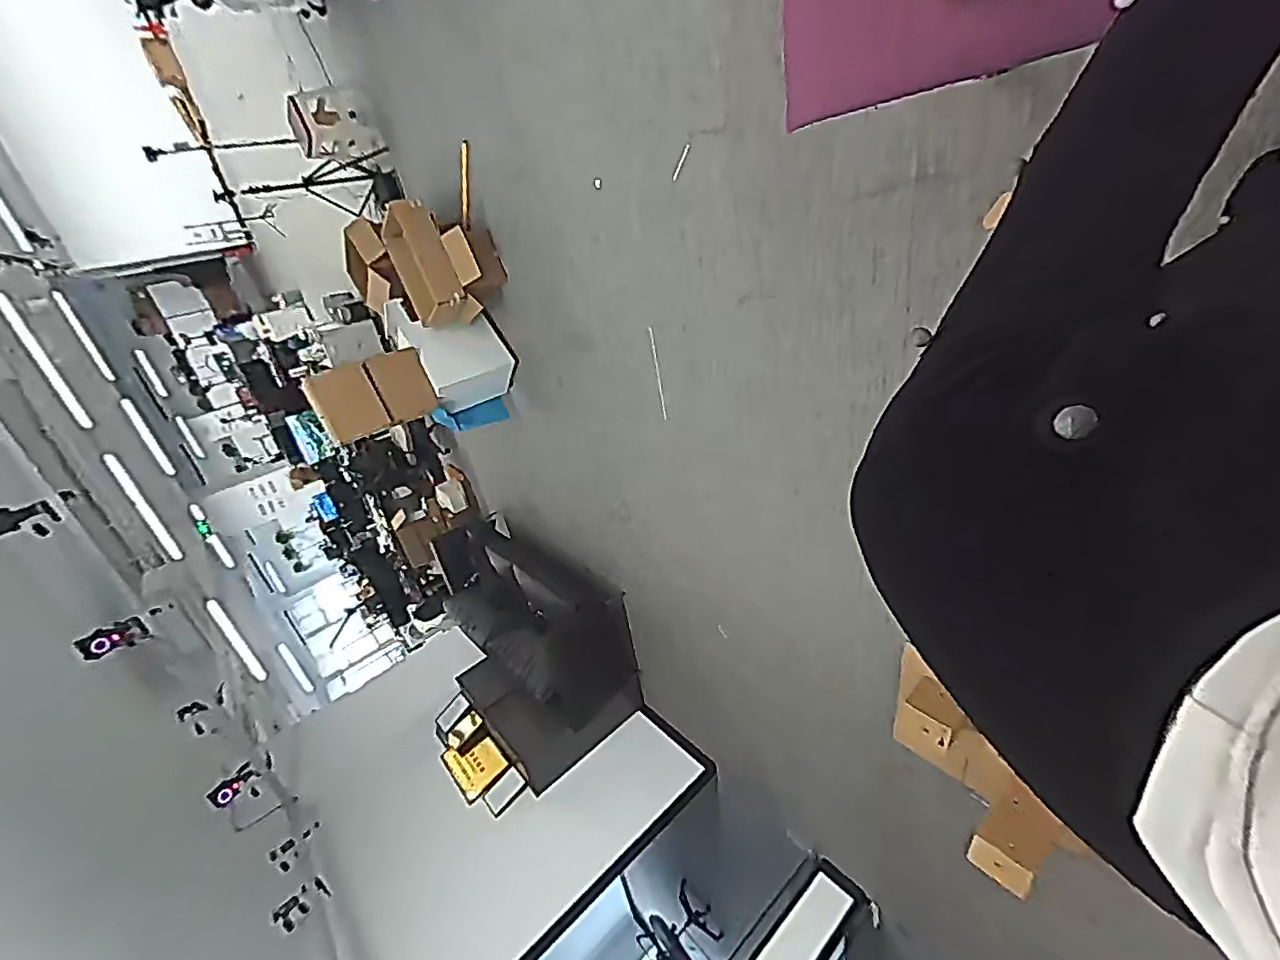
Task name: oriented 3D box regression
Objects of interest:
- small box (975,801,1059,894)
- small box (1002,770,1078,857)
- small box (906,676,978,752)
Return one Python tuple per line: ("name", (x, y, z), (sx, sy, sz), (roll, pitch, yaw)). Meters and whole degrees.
("small box", (1.284, 1.238, 1.842), (0.179, 0.176, 0.168), (24, 133, 44))
("small box", (1.409, 1.172, 1.921), (0.179, 0.176, 0.168), (25, 134, 44))
("small box", (1.150, 0.883, 2.064), (0.179, 0.176, 0.168), (26, 135, 43))
